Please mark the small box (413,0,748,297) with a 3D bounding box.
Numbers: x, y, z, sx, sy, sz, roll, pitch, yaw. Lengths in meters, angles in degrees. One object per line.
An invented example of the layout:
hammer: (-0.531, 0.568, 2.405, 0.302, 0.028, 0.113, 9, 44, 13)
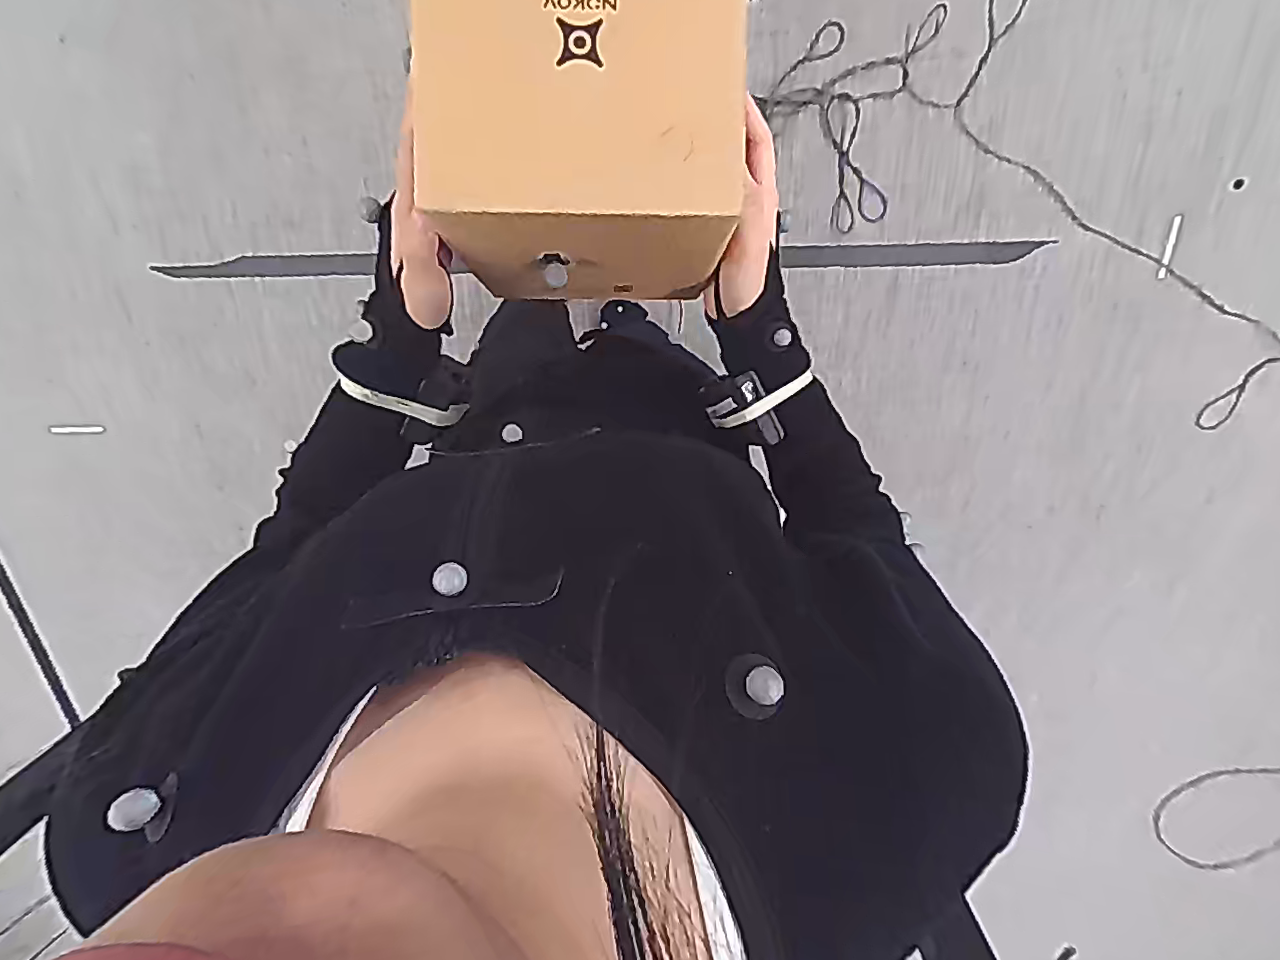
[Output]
small box: (-0.030, -0.224, 0.344, 0.168, 0.176, 0.179, 0, 93, -2)
